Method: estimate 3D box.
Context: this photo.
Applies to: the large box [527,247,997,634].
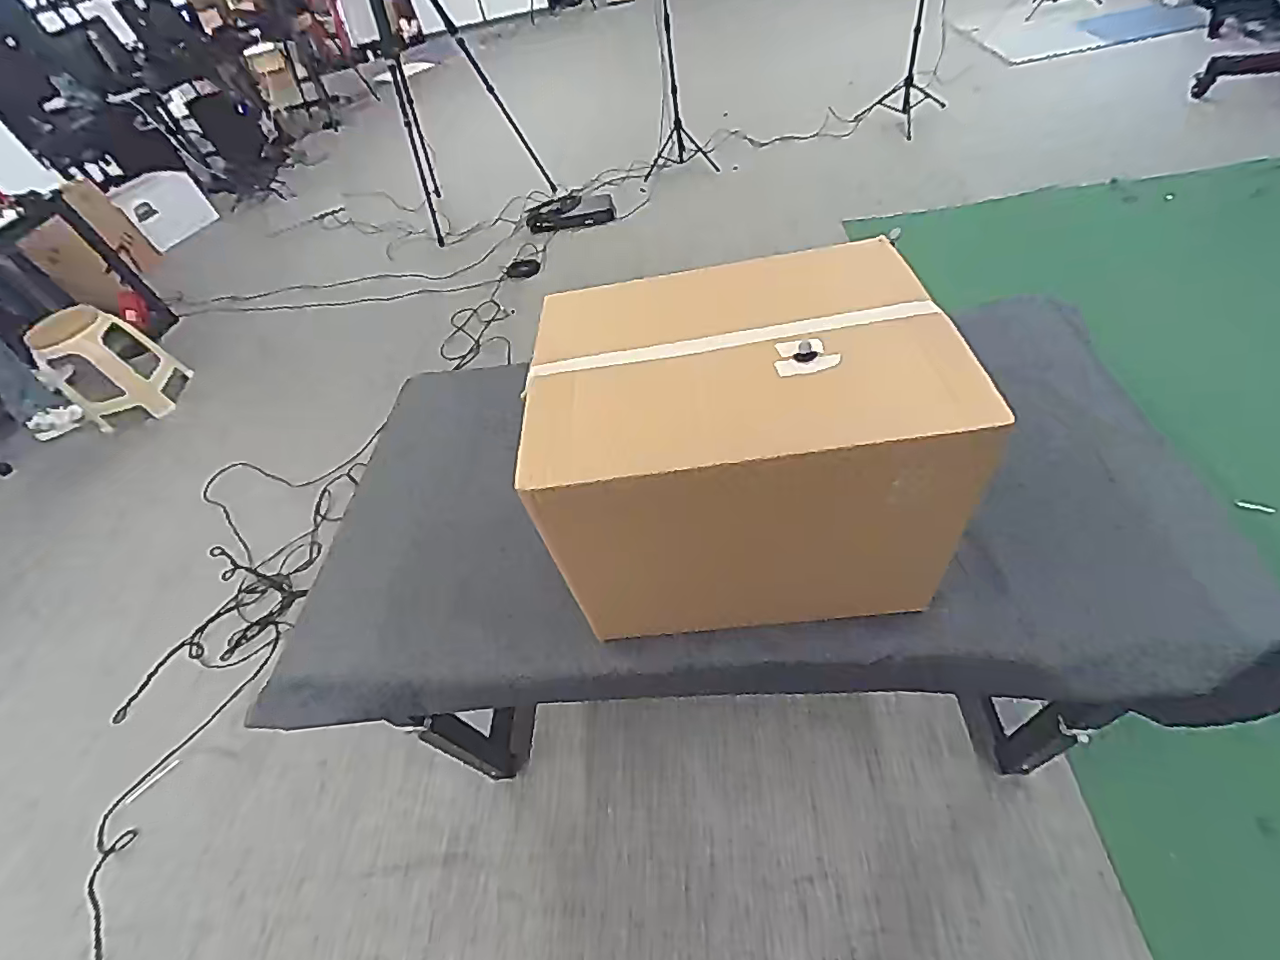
[{"bbox_3d":[0.111,-0.036,0.660,0.408,0.320,0.320,-7,49,6],"label":"large box"}]
